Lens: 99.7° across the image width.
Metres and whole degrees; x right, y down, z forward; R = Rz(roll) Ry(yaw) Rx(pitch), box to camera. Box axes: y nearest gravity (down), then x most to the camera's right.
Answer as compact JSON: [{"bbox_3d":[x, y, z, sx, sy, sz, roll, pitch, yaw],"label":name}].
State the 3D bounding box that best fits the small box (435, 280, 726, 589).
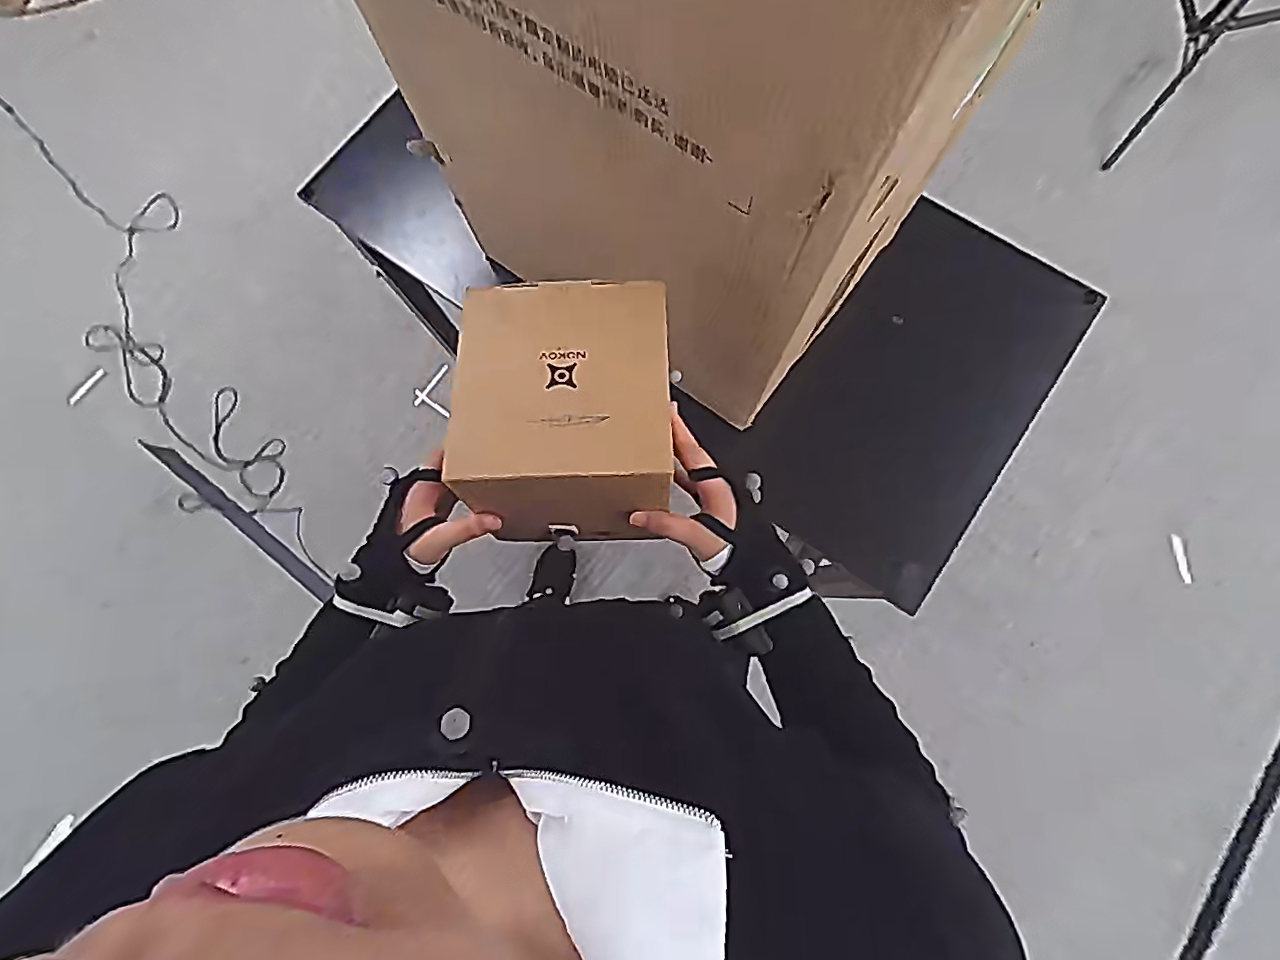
[{"bbox_3d":[-0.034,-0.023,0.406,0.168,0.176,0.179,-2,68,0],"label":"small box"}]
